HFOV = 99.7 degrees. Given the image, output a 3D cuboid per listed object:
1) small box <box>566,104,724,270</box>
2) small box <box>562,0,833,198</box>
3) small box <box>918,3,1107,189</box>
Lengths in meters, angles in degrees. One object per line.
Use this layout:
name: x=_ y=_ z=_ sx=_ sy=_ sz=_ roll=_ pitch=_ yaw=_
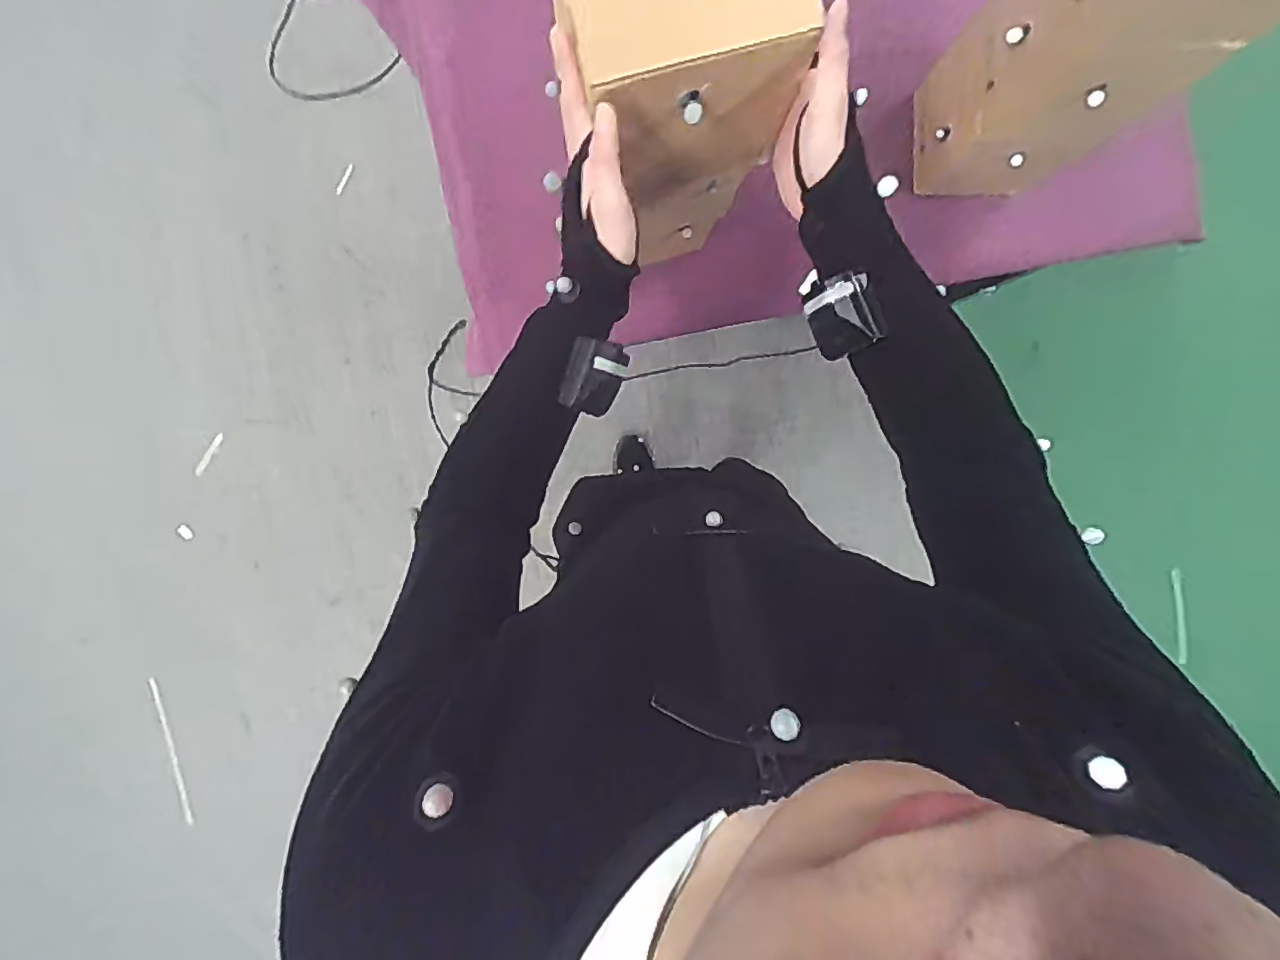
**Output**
small box: x=0.003 y=-0.427 z=0.782 sx=0.179 sy=0.176 sz=0.168 roll=-16 pitch=94 yaw=-1
small box: x=0.032 y=-0.369 z=0.451 sx=0.179 sy=0.176 sz=0.168 roll=-14 pitch=92 yaw=1
small box: x=0.535 y=-0.549 z=0.795 sx=0.179 sy=0.176 sz=0.168 roll=-1 pitch=94 yaw=-2
